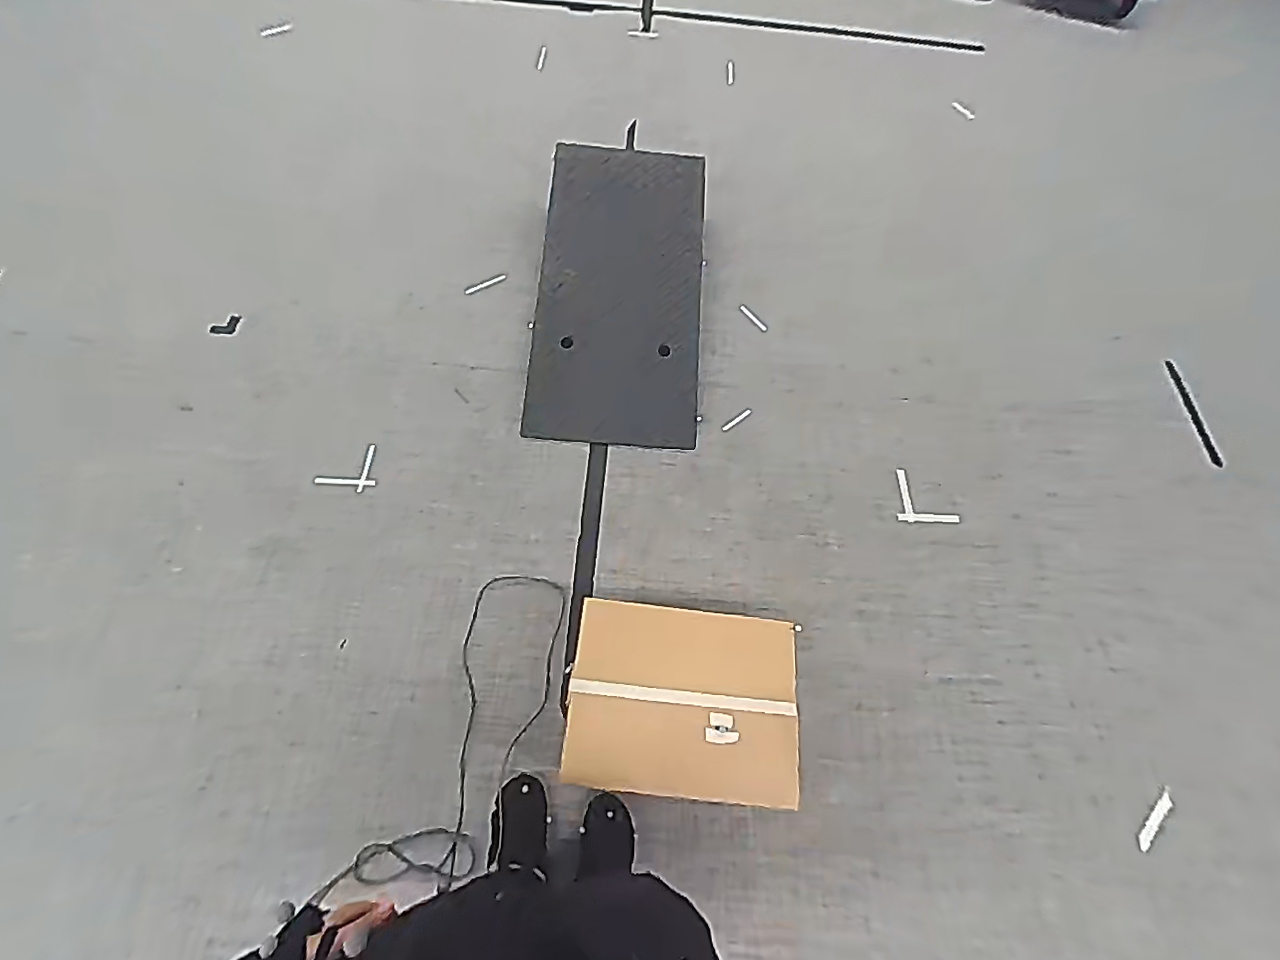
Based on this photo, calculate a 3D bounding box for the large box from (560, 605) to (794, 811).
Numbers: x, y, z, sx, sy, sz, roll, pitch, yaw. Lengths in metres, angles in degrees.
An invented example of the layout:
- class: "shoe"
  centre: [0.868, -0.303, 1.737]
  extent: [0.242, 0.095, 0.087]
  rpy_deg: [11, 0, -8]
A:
- class: "large box"
  centre: [0.061, 0.460, 1.096]
  extent: [0.408, 0.320, 0.320]
  rpy_deg: [8, 65, -2]

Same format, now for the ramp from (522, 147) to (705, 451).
- class: "ramp"
  centre: [-0.057, -0.576, 1.639]
  extent: [0.509, 0.206, 0.991]
  rpy_deg: [3, 65, -4]
